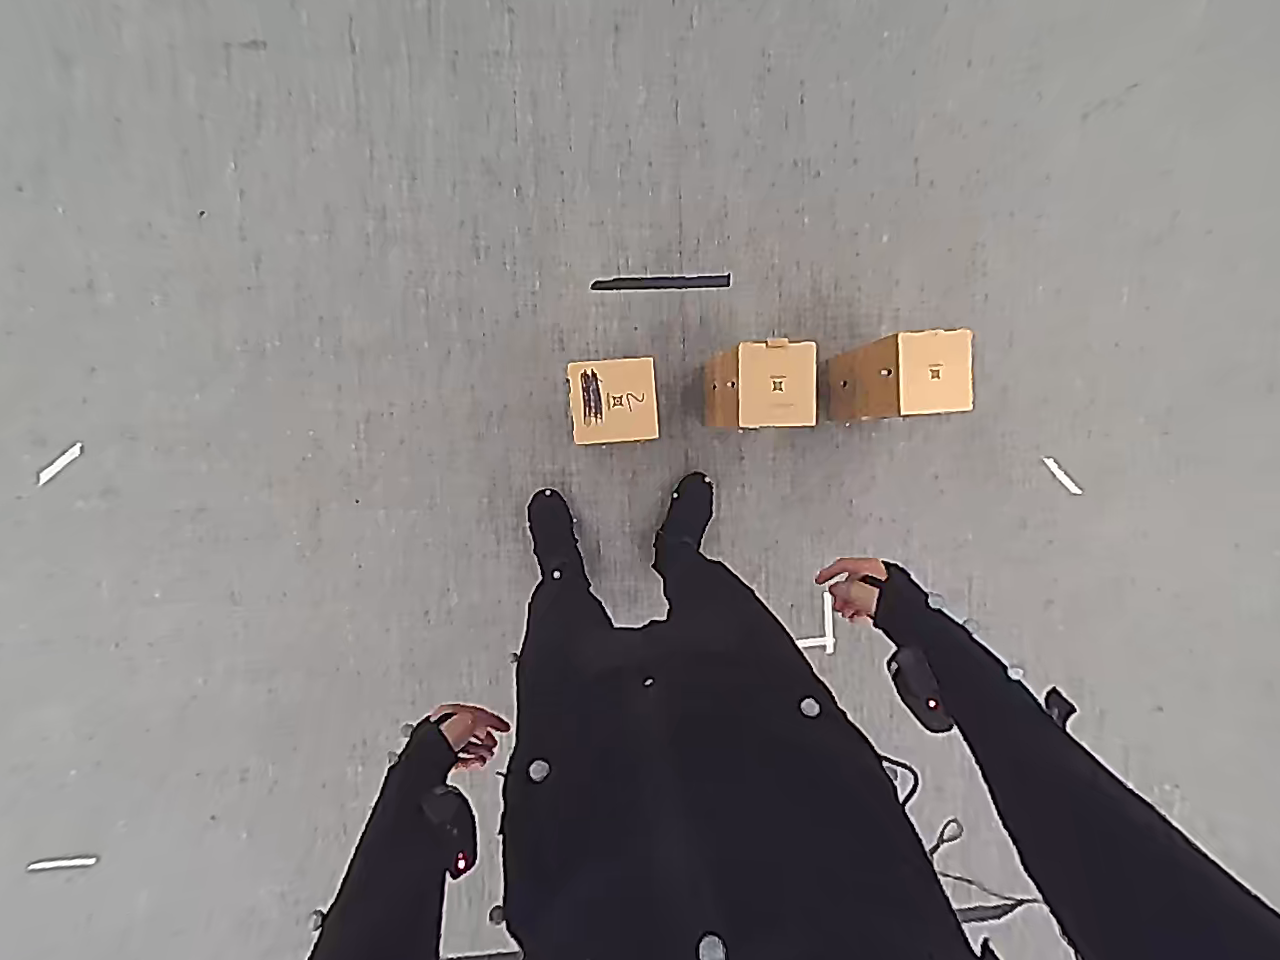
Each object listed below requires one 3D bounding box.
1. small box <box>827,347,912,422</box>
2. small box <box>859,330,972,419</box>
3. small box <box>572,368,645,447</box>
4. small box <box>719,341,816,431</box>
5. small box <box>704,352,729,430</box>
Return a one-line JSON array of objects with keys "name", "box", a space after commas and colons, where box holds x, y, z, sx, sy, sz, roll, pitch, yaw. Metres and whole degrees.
[{"name": "small box", "box": [0.593, -0.240, 1.376, 0.168, 0.176, 0.179, -5, 94, -6]}, {"name": "small box", "box": [0.612, -0.230, 1.215, 0.168, 0.176, 0.179, -5, 93, -6]}, {"name": "small box", "box": [-0.079, -0.171, 1.315, 0.168, 0.176, 0.179, -3, 94, -5]}, {"name": "small box", "box": [0.272, -0.199, 1.181, 0.168, 0.176, 0.179, -2, 94, -5]}, {"name": "small box", "box": [0.255, -0.216, 1.343, 0.168, 0.176, 0.179, -2, 95, -5]}]
